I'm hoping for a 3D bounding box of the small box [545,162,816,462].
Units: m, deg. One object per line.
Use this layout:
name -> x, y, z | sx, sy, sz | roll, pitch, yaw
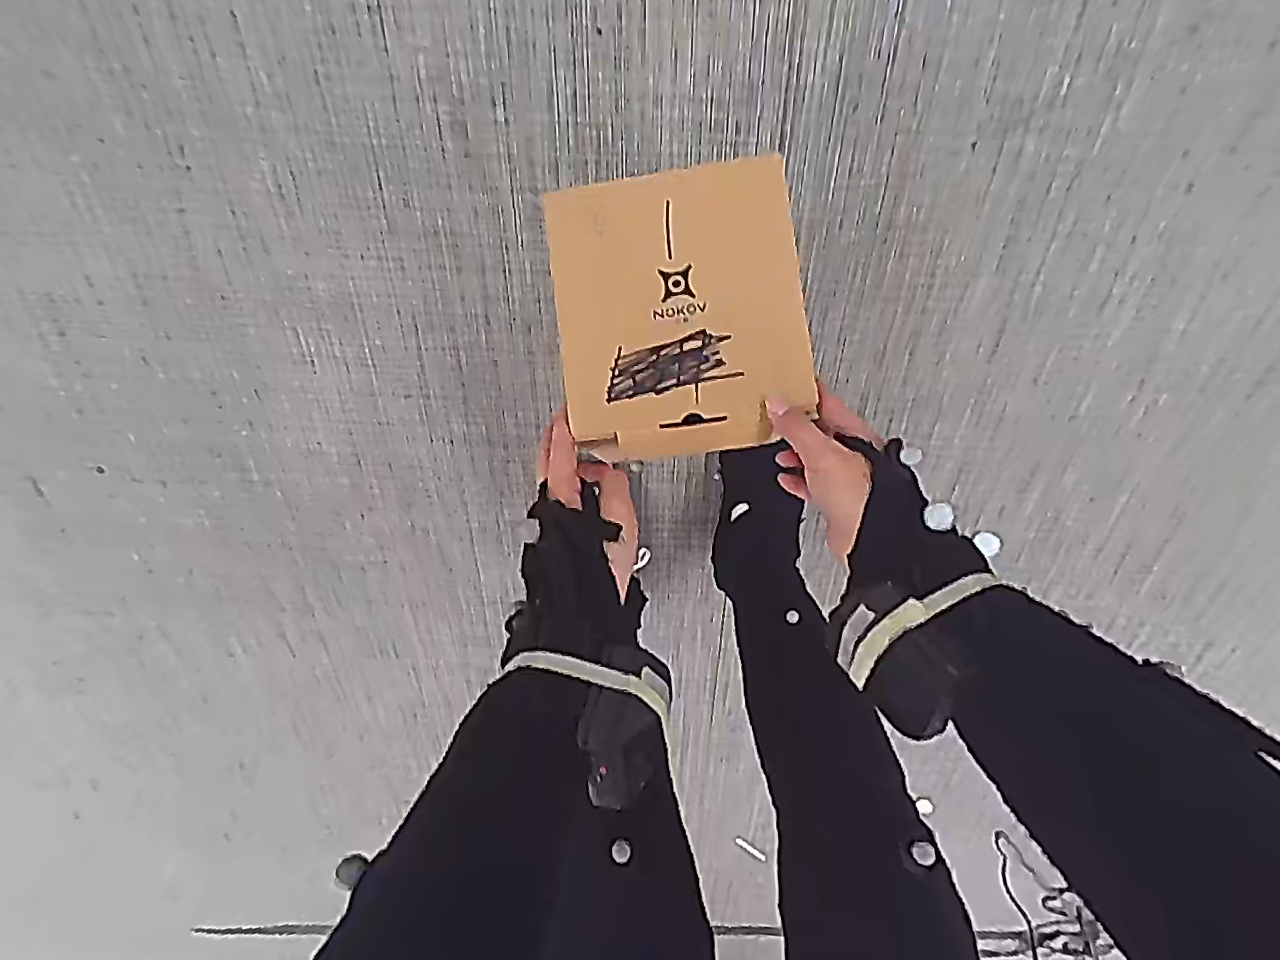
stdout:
small box -> 0.031, -0.110, 0.436 | 0.168, 0.176, 0.179 | -7, 86, 4
